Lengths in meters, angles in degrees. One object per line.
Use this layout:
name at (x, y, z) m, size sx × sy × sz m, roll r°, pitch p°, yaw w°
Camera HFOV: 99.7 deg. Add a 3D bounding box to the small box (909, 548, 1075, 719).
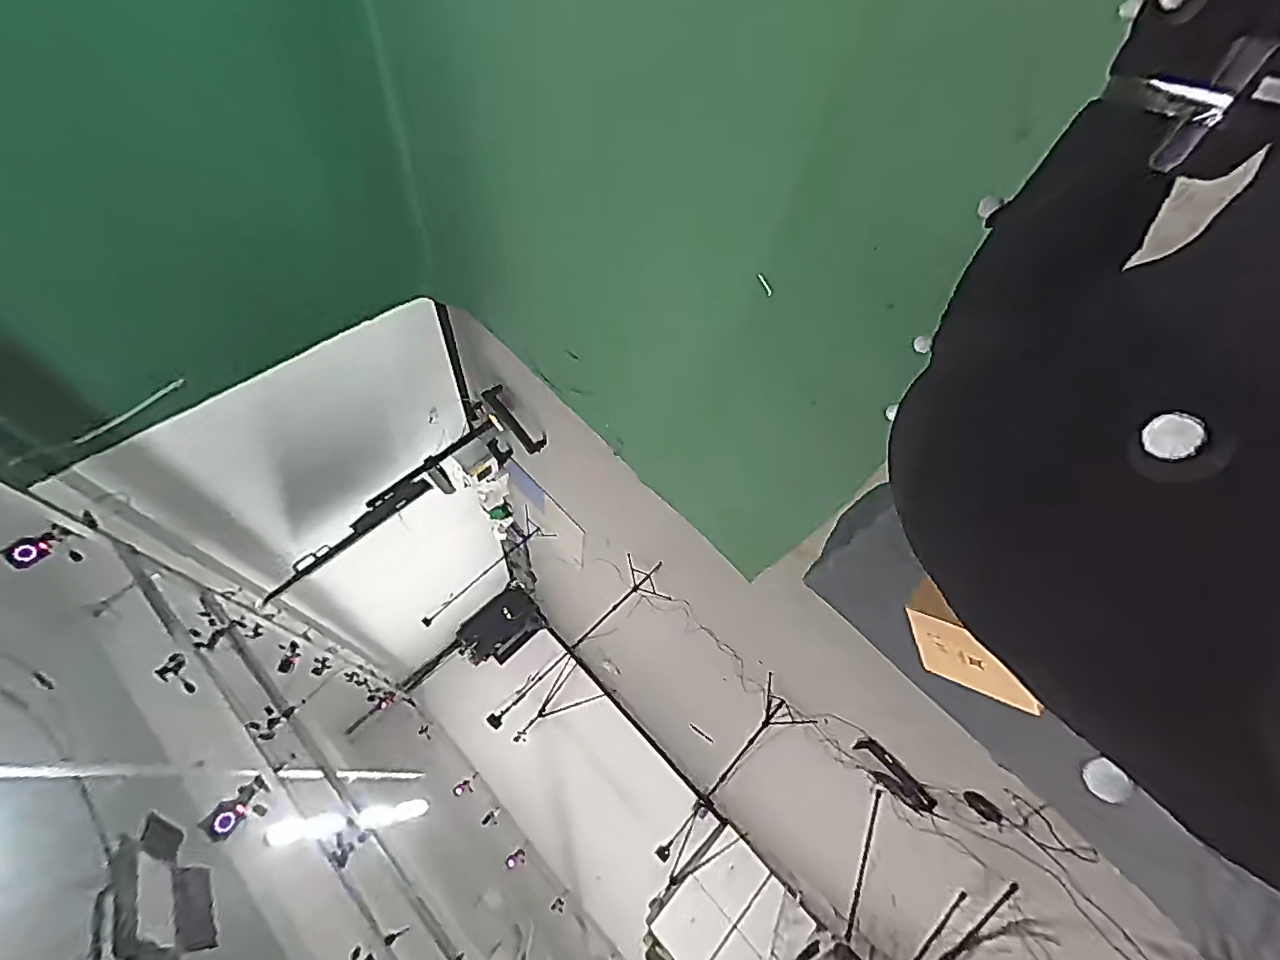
small box at (0.565, 0.232, 0.861) m, size 0.179 × 0.176 × 0.168 m, roll 14°, pitch 140°, yaw 51°
